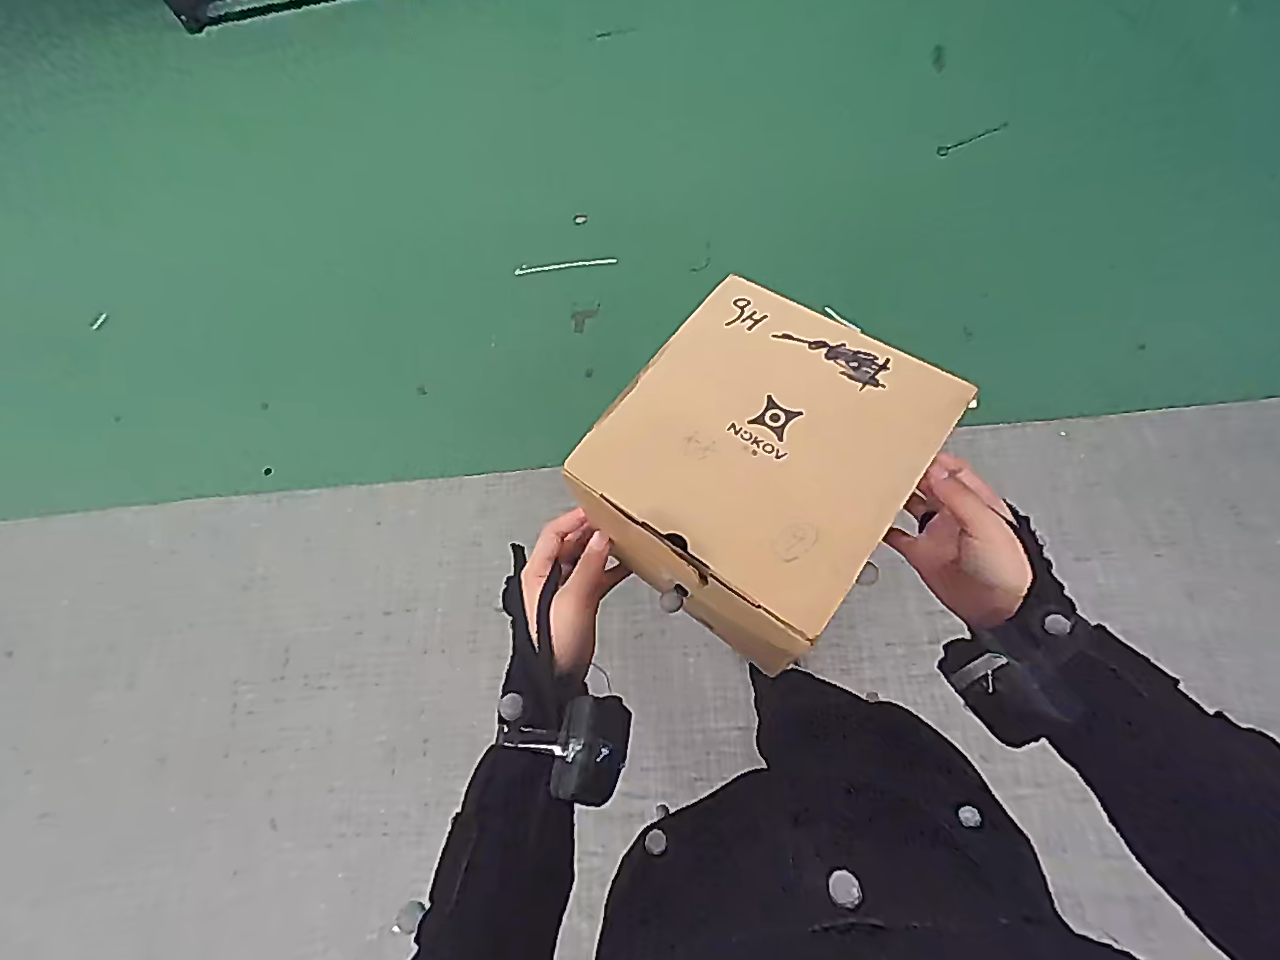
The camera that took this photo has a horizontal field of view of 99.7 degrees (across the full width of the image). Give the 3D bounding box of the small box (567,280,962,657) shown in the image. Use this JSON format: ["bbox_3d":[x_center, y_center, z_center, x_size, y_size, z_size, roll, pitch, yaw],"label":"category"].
[{"bbox_3d":[0.081,0.004,0.386,0.168,0.176,0.179,34,75,20],"label":"small box"}]
